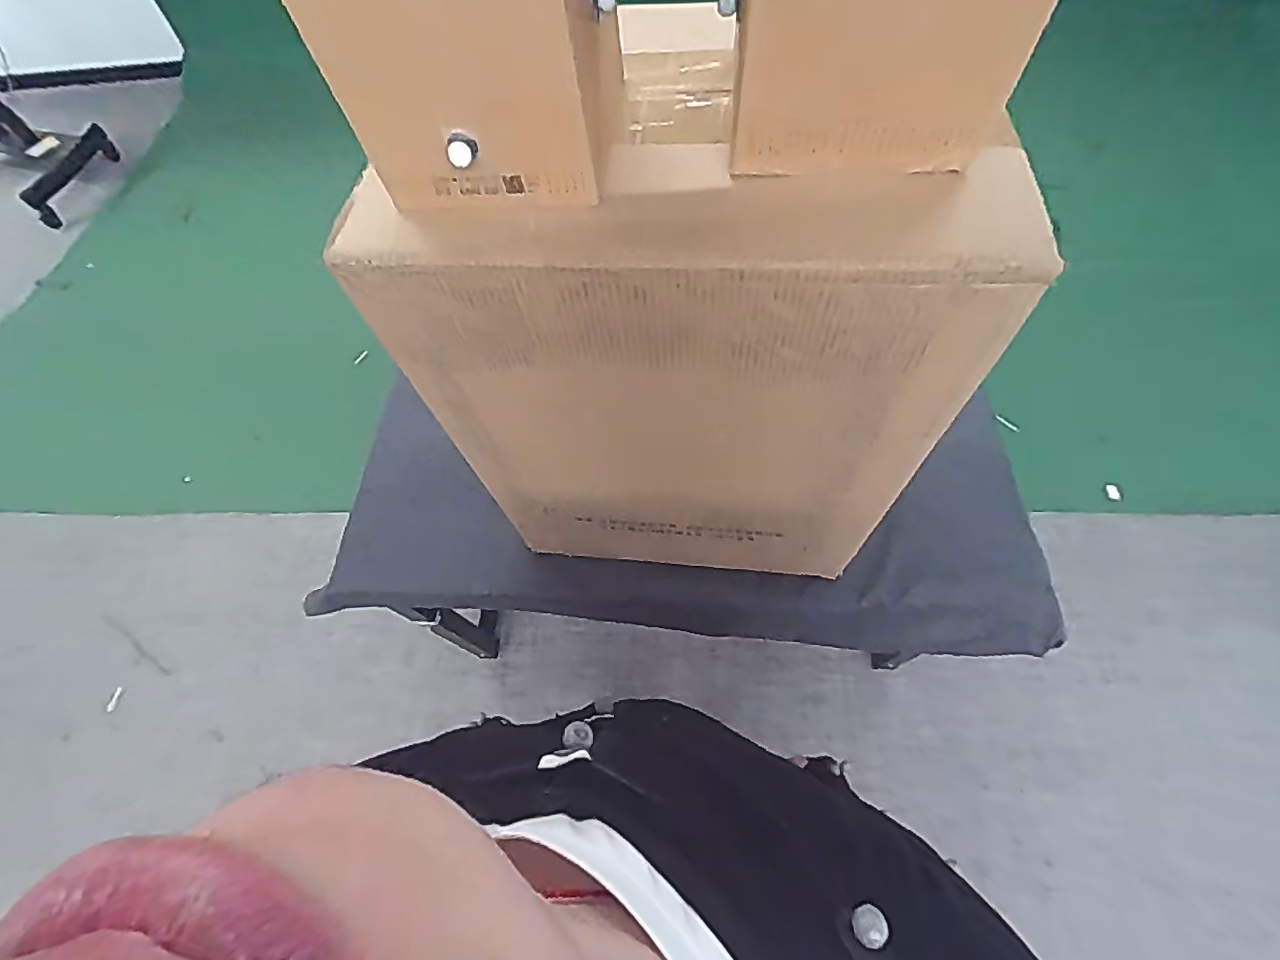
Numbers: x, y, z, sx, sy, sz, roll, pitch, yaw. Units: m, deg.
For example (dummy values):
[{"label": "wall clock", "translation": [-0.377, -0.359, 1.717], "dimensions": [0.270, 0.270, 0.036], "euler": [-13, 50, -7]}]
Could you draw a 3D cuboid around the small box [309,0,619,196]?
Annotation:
[{"label": "small box", "translation": [-0.110, -0.332, 0.378], "dimensions": [0.168, 0.176, 0.179], "euler": [3, 65, 7]}]

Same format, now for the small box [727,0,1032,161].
[{"label": "small box", "translation": [0.153, -0.342, 0.361], "dimensions": [0.179, 0.176, 0.168], "euler": [4, 66, 4]}]
